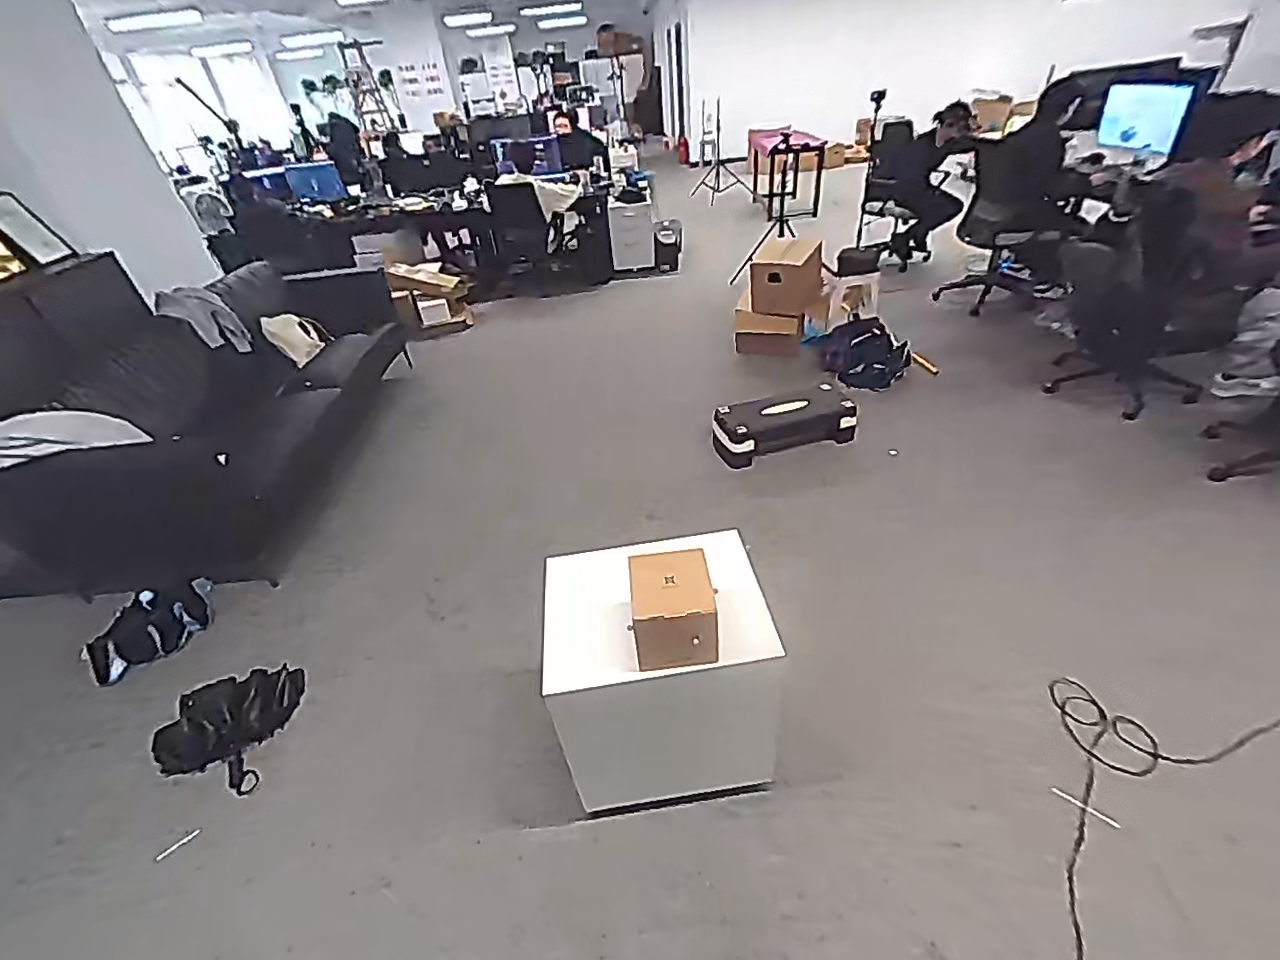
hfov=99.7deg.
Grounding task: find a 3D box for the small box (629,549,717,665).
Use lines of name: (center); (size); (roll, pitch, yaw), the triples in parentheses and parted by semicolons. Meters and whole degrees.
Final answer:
small box: (0.070, 0.272, 1.140); (0.168, 0.176, 0.179); (-6, 35, -1)
